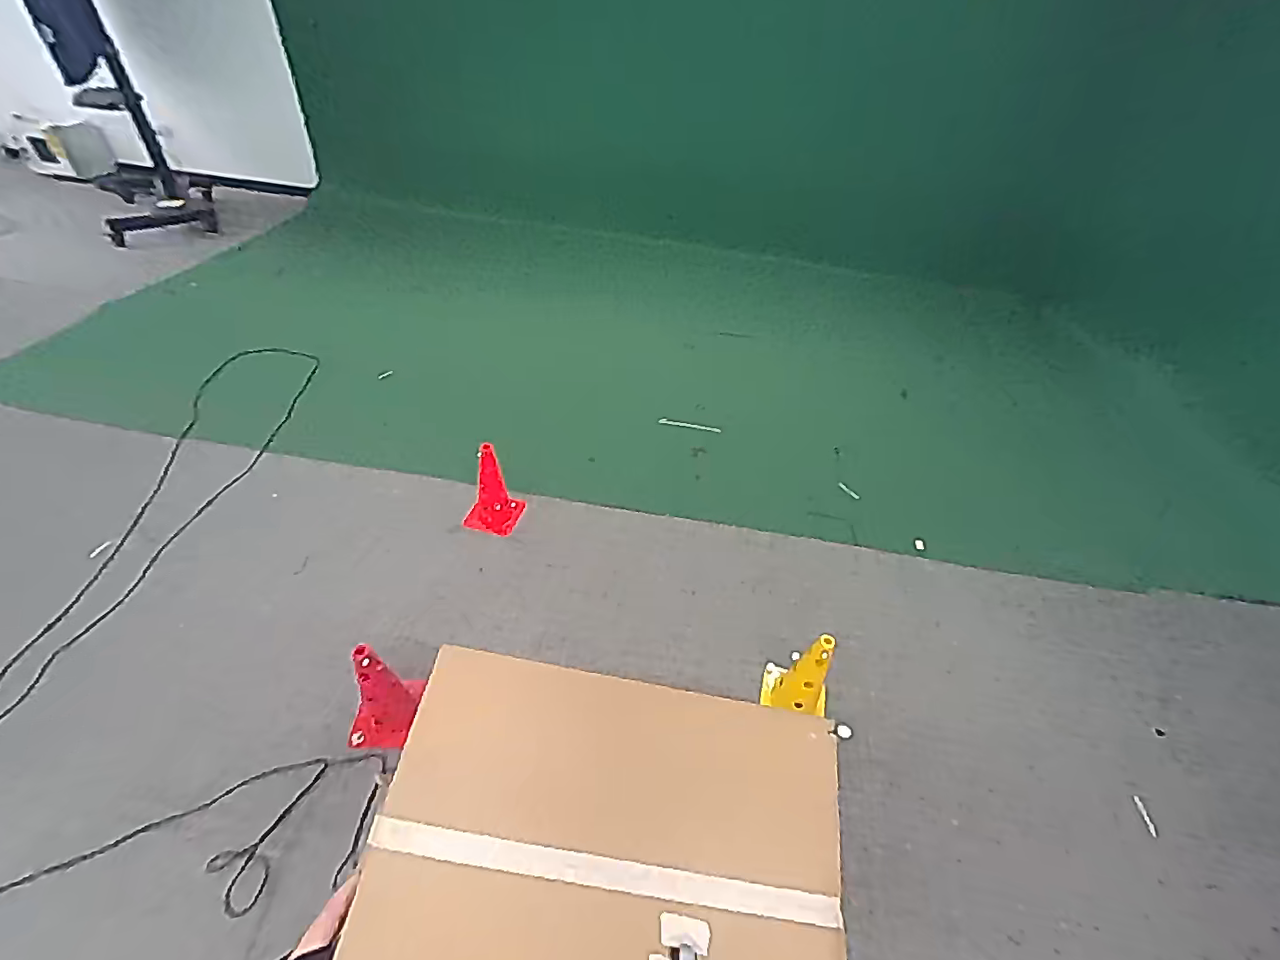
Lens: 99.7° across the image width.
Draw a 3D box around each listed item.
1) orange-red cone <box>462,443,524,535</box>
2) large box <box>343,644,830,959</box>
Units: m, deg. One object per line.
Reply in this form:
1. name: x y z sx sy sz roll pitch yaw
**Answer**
1. orange-red cone: -0.578 0.010 2.069 0.199 0.360 0.198 13 42 9
2. large box: -0.046 0.405 0.604 0.408 0.320 0.320 12 59 -2
